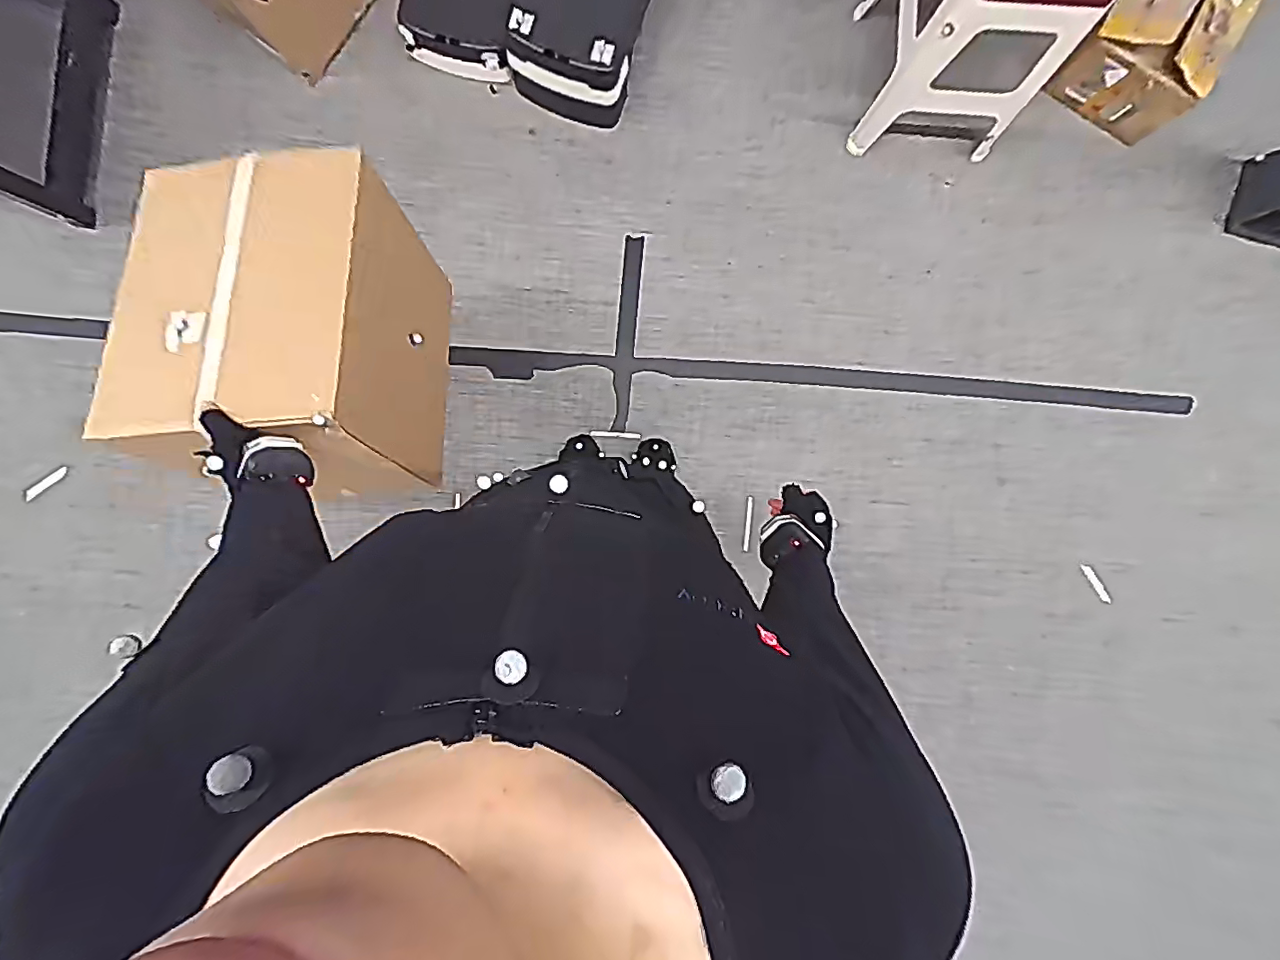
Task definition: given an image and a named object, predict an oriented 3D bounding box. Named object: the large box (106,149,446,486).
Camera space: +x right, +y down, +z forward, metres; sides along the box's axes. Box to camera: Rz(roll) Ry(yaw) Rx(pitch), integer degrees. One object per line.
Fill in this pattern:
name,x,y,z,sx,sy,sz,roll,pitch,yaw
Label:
large box,-0.518,-0.225,0.856,0.320,0.320,0.408,-4,76,4
